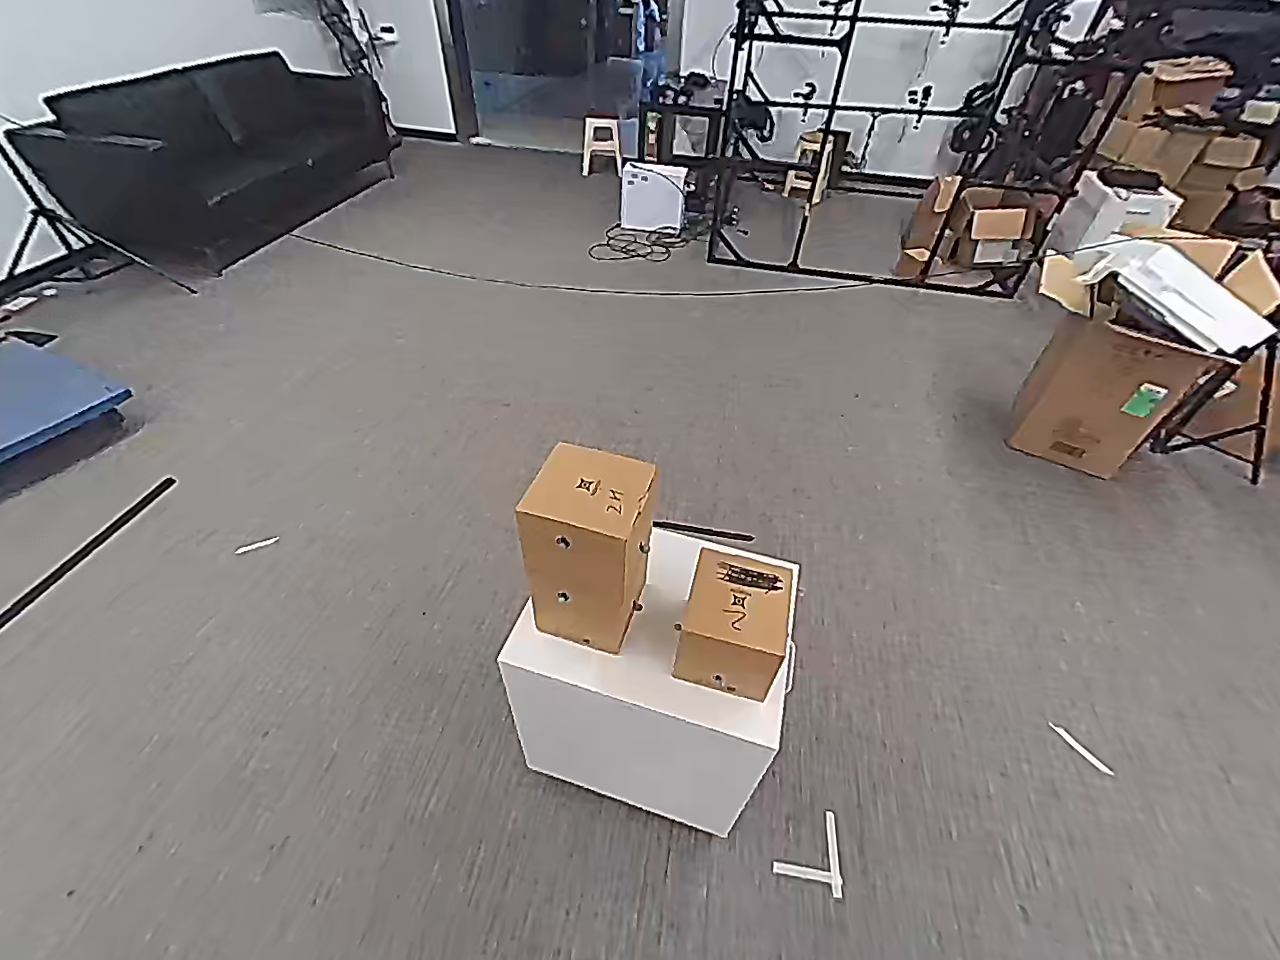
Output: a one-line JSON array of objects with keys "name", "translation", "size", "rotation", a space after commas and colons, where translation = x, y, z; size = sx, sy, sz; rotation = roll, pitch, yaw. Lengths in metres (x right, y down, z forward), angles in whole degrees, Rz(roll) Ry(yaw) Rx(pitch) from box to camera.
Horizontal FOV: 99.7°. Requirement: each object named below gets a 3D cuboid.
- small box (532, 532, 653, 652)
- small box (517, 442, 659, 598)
[{"name": "small box", "translation": [-0.085, 0.183, 1.000], "size": [0.168, 0.176, 0.179], "rotation": [14, 44, 11]}, {"name": "small box", "translation": [-0.079, 0.067, 0.882], "size": [0.179, 0.176, 0.168], "rotation": [15, 46, 10]}]
